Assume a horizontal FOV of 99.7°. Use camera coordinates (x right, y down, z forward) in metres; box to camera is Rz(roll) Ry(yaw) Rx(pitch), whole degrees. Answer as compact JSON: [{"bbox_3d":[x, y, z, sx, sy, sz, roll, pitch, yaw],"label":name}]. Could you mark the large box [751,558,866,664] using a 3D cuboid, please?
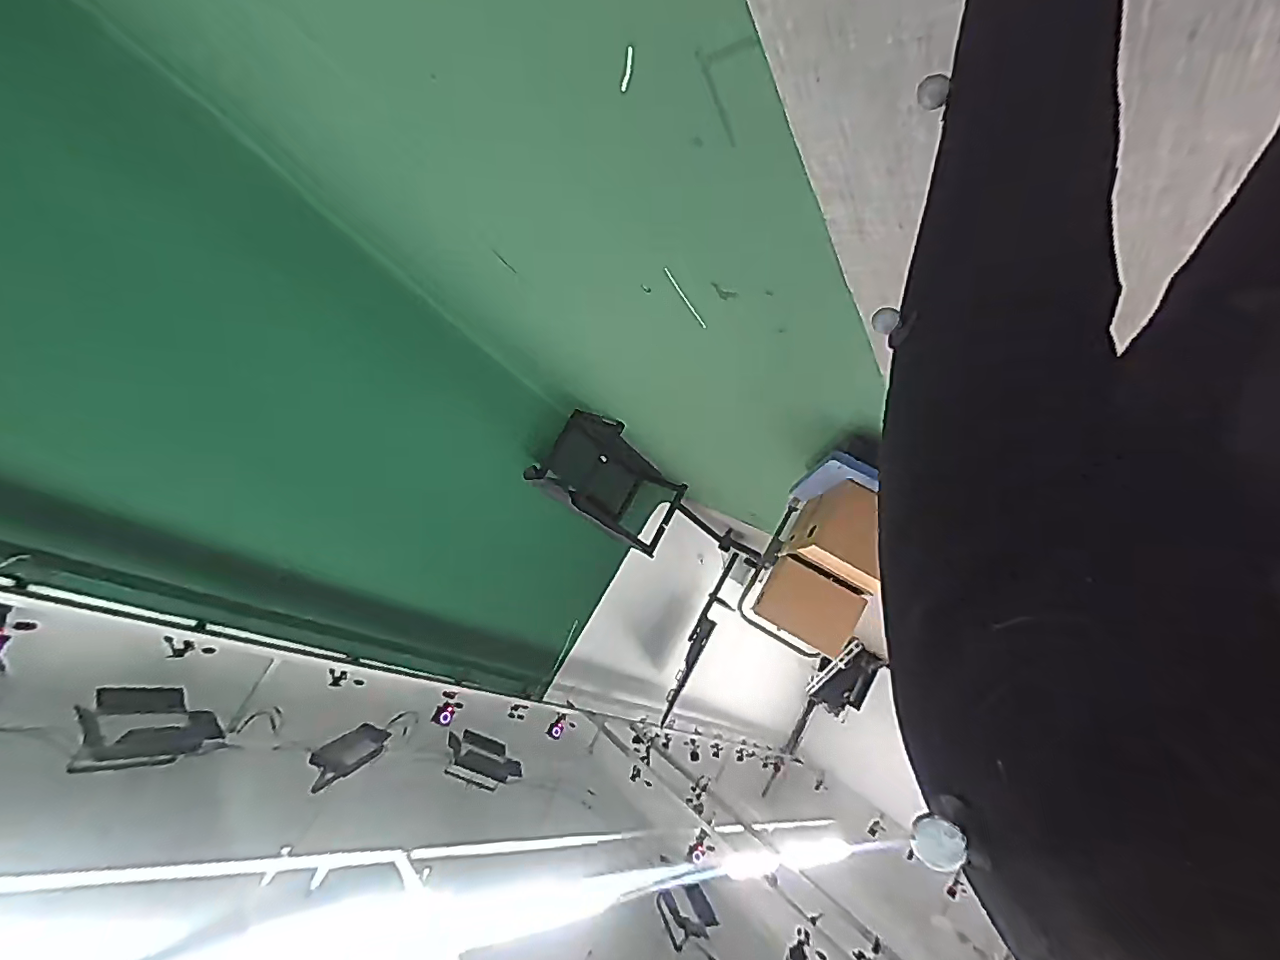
[{"bbox_3d":[0.785,0.605,2.559,0.408,0.320,0.320,30,176,11],"label":"large box"}]
